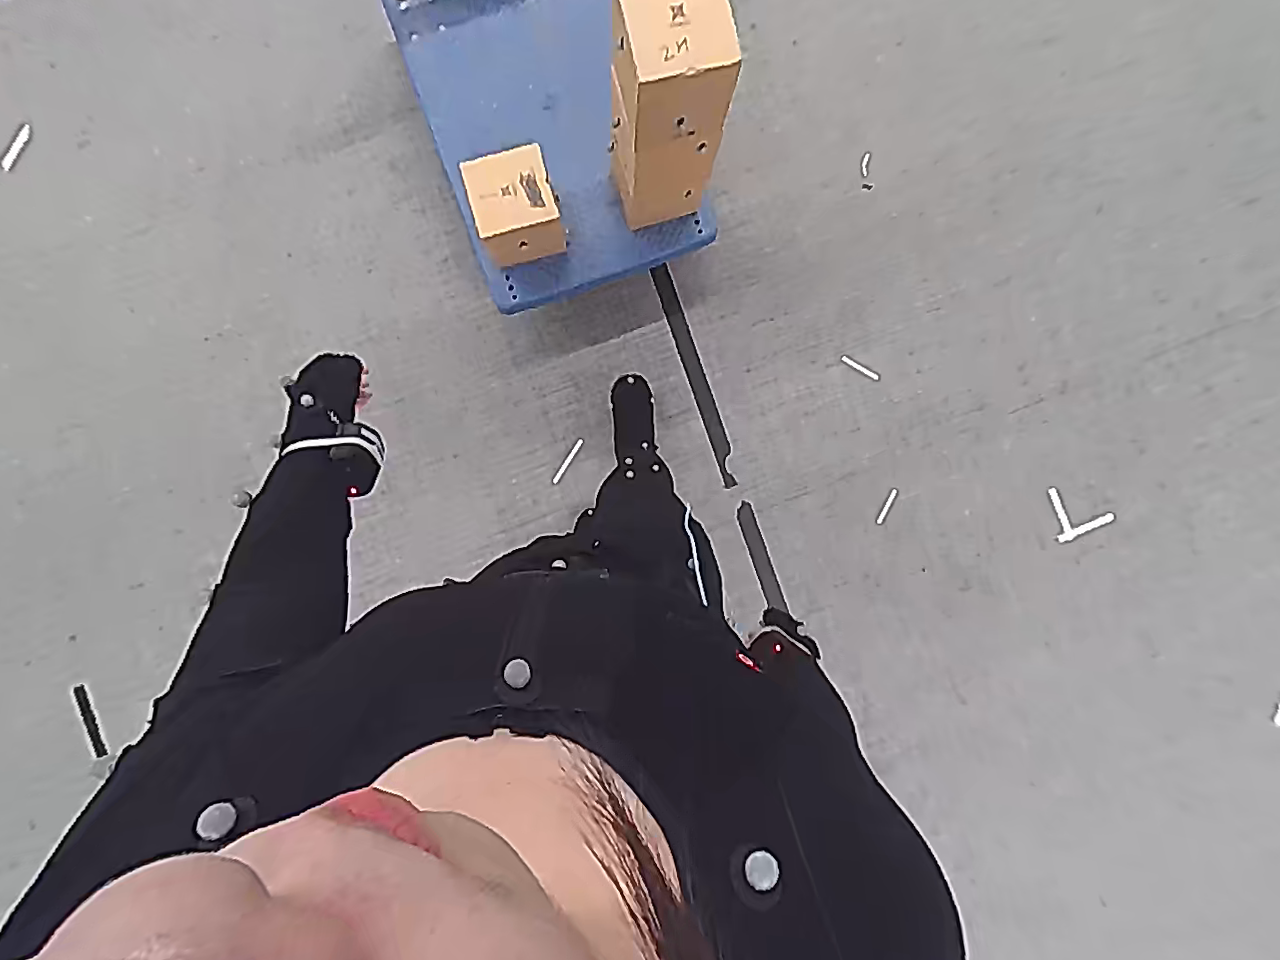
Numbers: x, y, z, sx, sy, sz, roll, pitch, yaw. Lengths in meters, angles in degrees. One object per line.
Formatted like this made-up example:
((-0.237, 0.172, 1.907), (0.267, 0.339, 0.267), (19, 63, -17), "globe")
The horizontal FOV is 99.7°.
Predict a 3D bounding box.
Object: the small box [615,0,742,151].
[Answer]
((0.054, -0.695, 0.901), (0.168, 0.176, 0.179), (-13, 91, -2), "small box")

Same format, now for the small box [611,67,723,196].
((0.048, -0.692, 1.066), (0.179, 0.176, 0.168), (-15, 91, -3), "small box")

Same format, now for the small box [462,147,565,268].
((-0.273, -0.603, 1.216), (0.179, 0.176, 0.168), (-16, 91, -1), "small box")
